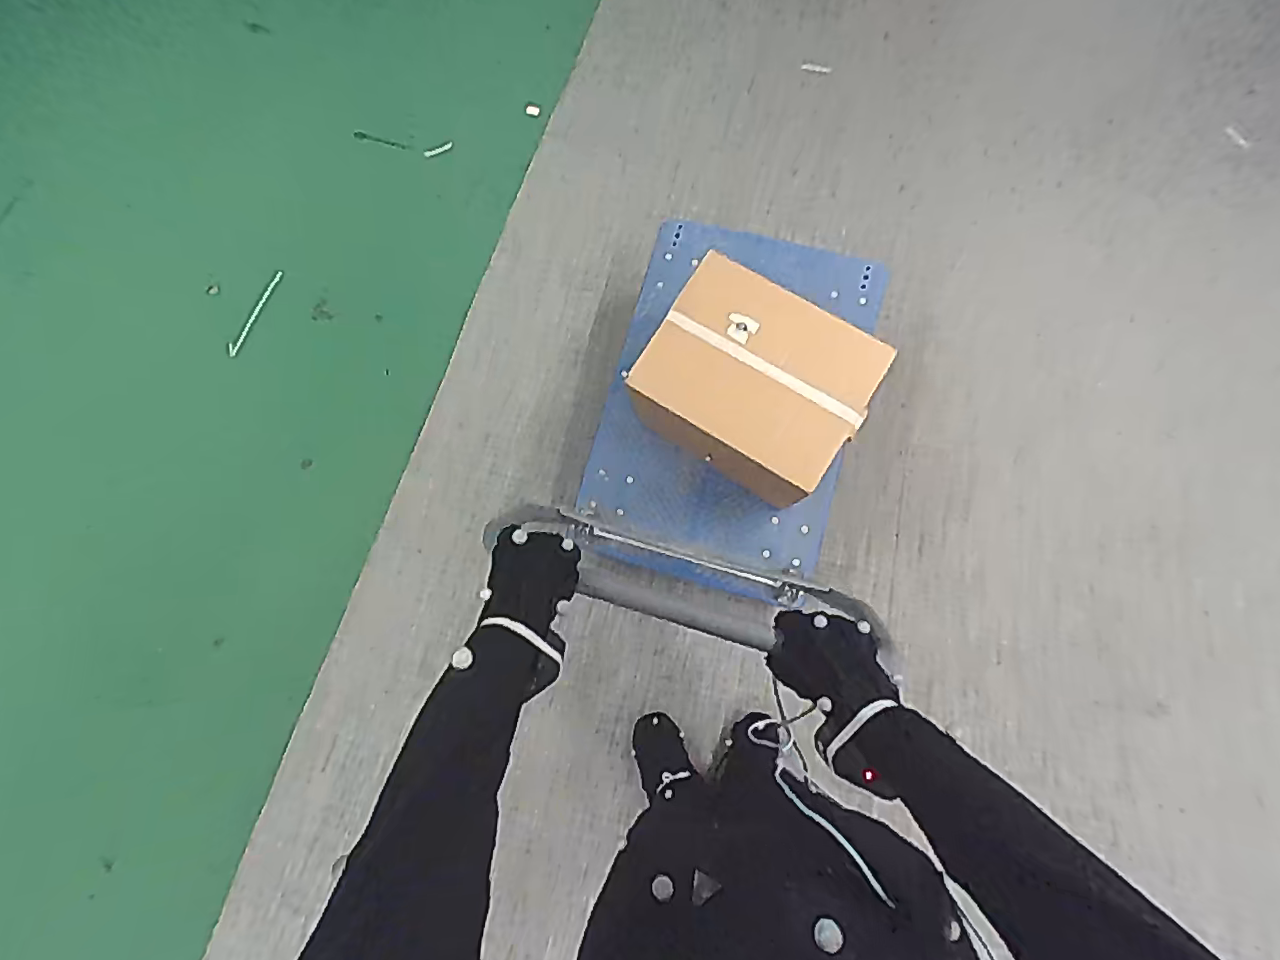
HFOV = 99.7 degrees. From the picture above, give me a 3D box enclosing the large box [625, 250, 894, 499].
[{"bbox_3d":[0.234,-0.196,1.142,0.408,0.320,0.320,31,86,10],"label":"large box"}]
